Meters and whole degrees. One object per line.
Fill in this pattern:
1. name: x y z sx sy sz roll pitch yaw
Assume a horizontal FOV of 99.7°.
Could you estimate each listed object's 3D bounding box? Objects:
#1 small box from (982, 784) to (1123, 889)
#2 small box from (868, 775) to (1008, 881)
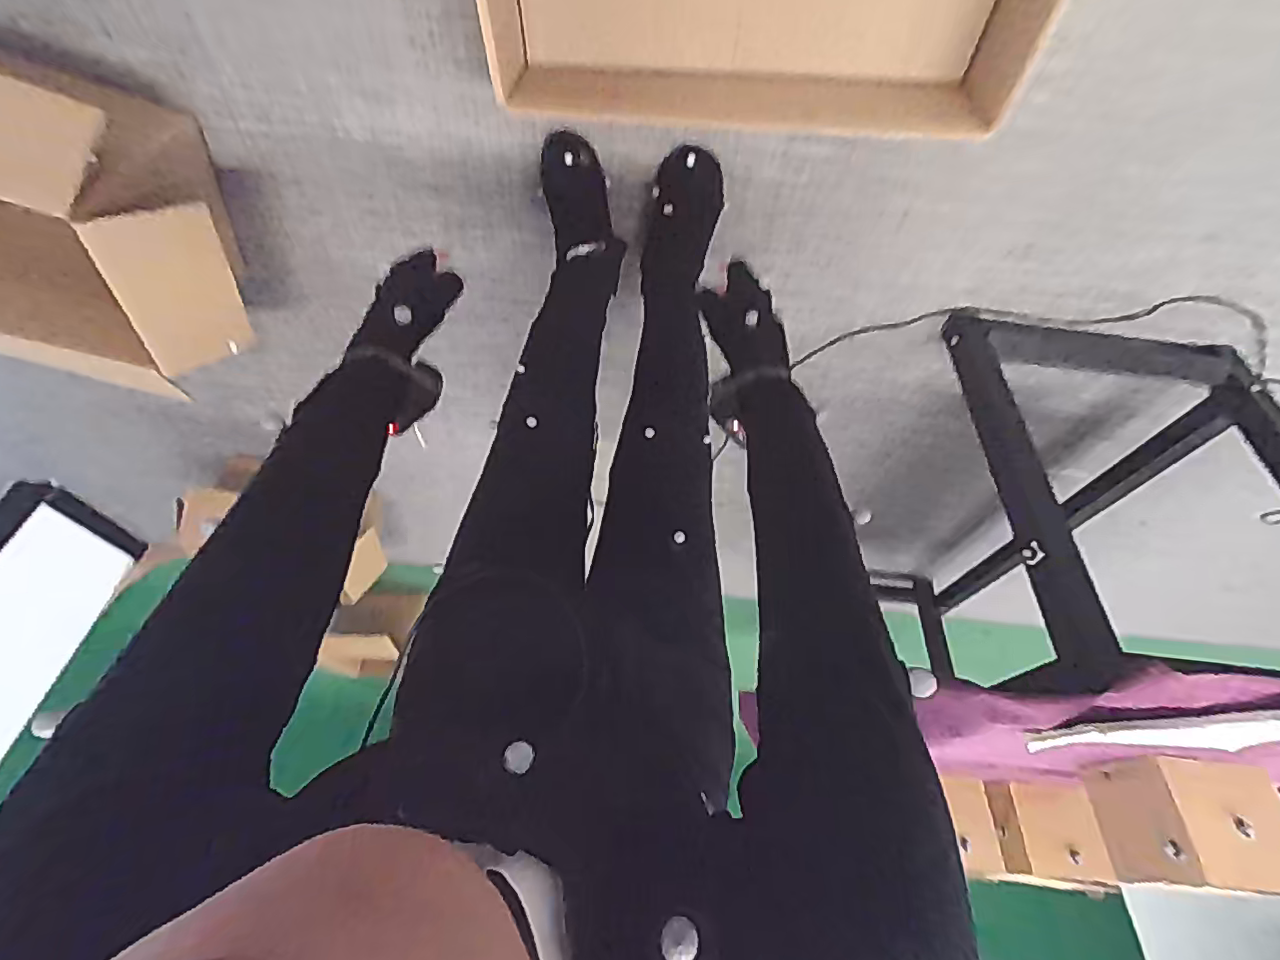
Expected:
1. small box: 0.832 0.746 1.134 0.179 0.176 0.168 6 144 -1
2. small box: 0.605 0.720 1.123 0.179 0.176 0.168 9 144 -6
